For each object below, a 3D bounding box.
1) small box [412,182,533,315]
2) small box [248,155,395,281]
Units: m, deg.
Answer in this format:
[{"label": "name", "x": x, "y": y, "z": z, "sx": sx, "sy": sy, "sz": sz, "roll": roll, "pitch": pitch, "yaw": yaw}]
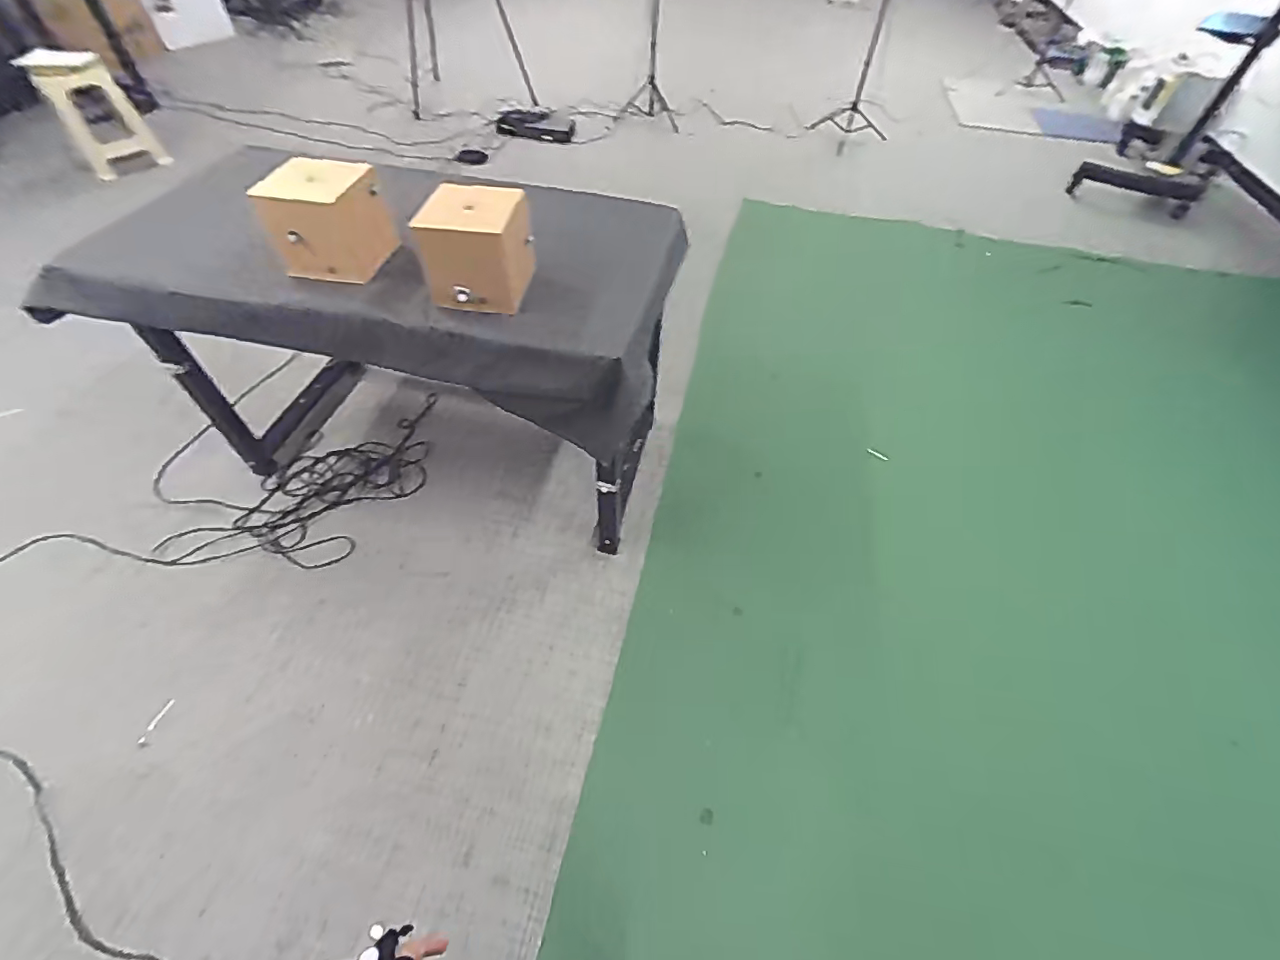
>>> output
[{"label": "small box", "x": -0.308, "y": -0.445, "z": 1.042, "sx": 0.168, "sy": 0.176, "sz": 0.179, "roll": 5, "pitch": 52, "yaw": 2}, {"label": "small box", "x": -0.621, "y": -0.522, "z": 1.085, "sx": 0.168, "sy": 0.176, "sz": 0.179, "roll": 7, "pitch": 51, "yaw": 2}]
